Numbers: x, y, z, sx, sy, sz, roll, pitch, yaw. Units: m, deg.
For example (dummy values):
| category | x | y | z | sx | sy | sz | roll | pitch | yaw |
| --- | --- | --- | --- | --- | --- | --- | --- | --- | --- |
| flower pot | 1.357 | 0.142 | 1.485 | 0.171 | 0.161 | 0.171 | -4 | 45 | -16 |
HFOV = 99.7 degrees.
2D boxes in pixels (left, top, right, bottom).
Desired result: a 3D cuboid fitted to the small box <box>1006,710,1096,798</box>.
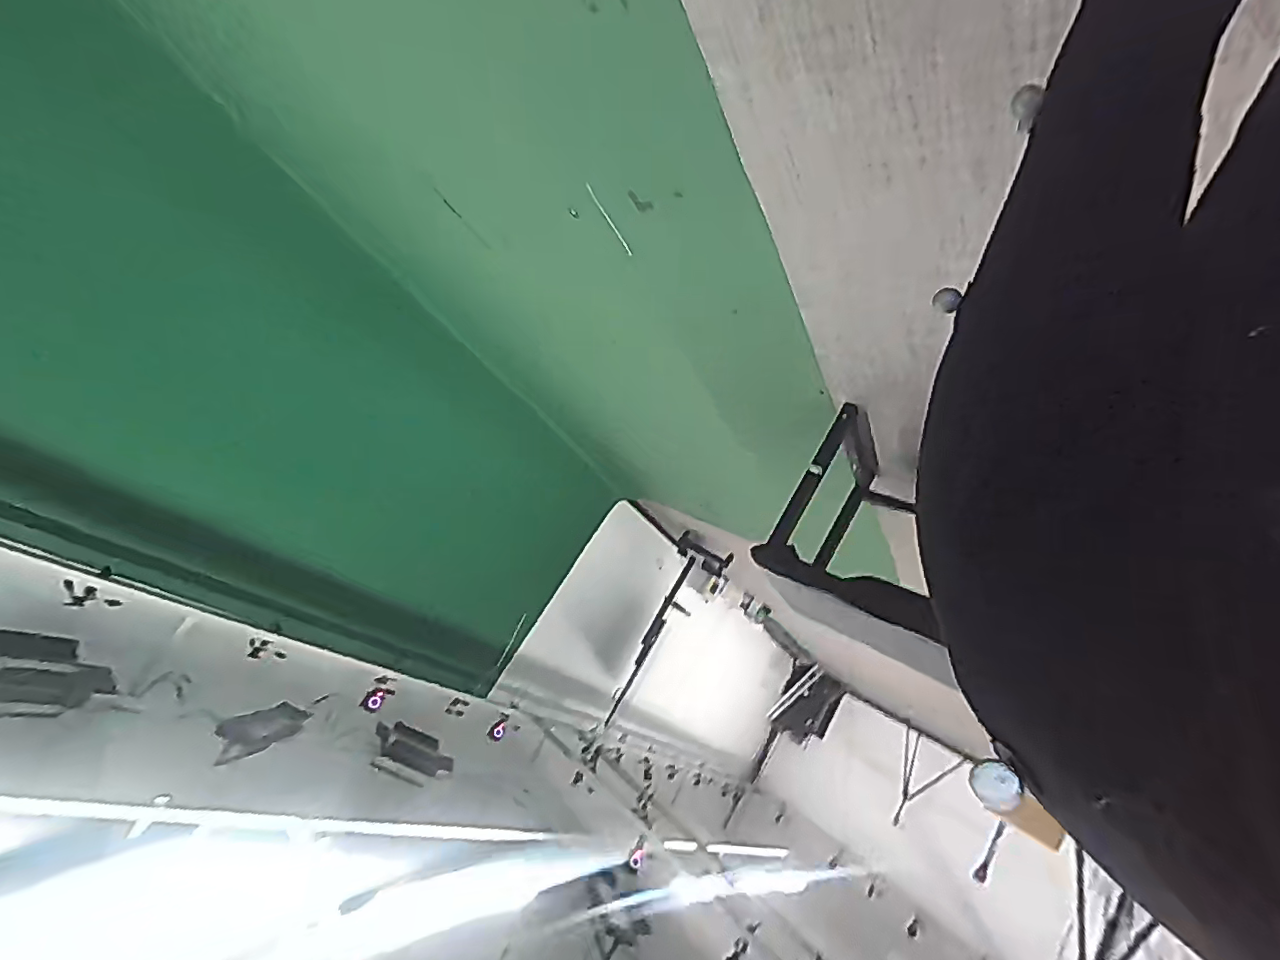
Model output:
| category | x | y | z | sx | sy | sz | roll | pitch | yaw |
| --- | --- | --- | --- | --- | --- | --- | --- | --- | --- |
| small box | 1.173 | 0.786 | 1.545 | 0.168 | 0.176 | 0.179 | 22 | 163 | 44 |

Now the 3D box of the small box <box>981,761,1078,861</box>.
| category | x | y | z | sx | sy | sz | roll | pitch | yaw |
| --- | --- | --- | --- | --- | --- | --- | --- | --- | --- |
| small box | 1.075 | 0.911 | 1.498 | 0.168 | 0.176 | 0.179 | 25 | 163 | 37 |
